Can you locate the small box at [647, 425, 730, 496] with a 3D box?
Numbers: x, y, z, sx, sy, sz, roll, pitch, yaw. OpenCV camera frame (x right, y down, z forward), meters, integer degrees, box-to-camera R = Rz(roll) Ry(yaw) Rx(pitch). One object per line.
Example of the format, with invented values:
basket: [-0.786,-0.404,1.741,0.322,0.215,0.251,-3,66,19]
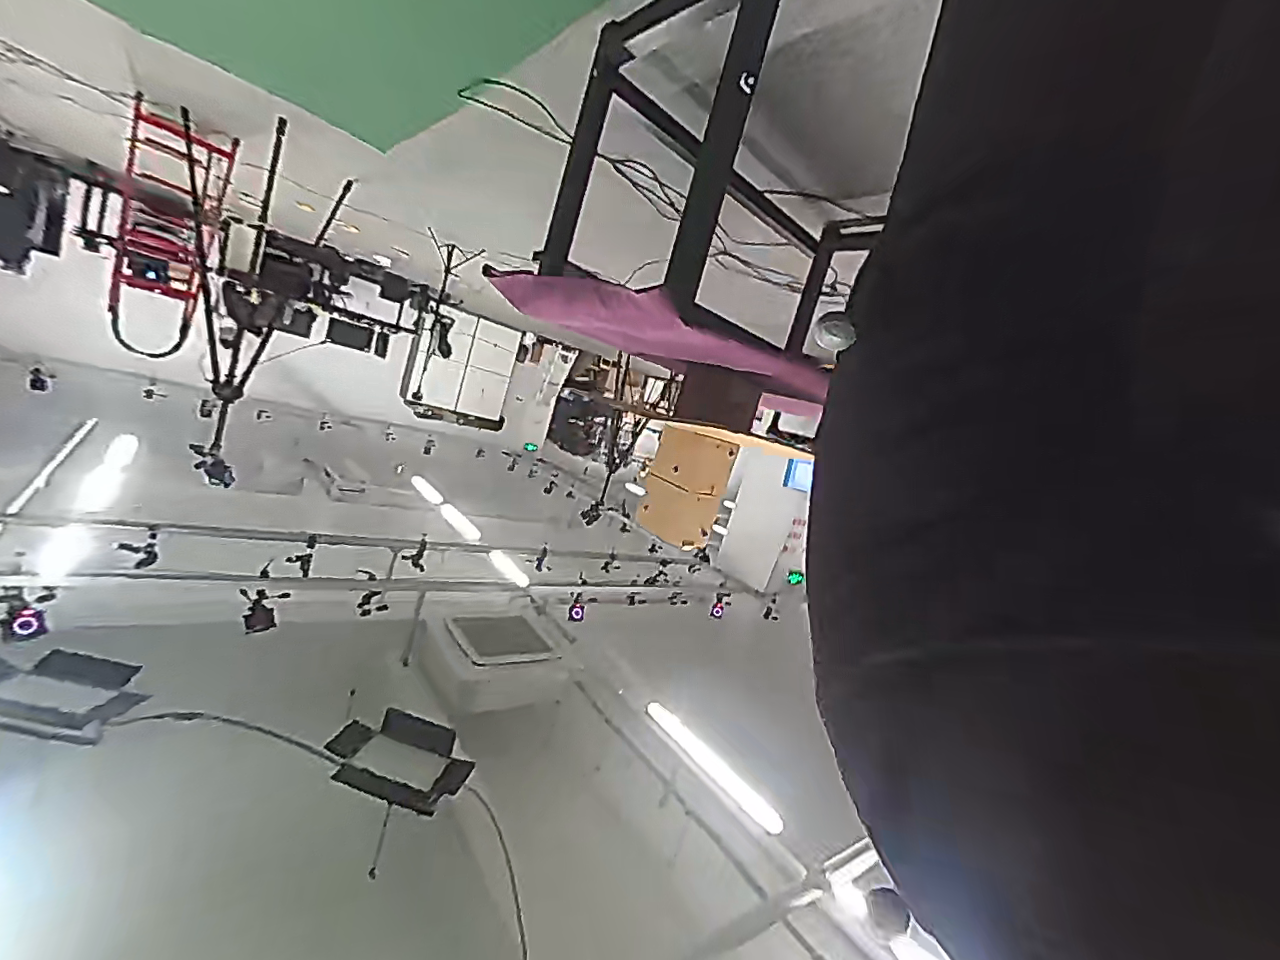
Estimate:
small box: [0.152,-0.062,1.627,0.168,0.176,0.179,10,-170,-41]
